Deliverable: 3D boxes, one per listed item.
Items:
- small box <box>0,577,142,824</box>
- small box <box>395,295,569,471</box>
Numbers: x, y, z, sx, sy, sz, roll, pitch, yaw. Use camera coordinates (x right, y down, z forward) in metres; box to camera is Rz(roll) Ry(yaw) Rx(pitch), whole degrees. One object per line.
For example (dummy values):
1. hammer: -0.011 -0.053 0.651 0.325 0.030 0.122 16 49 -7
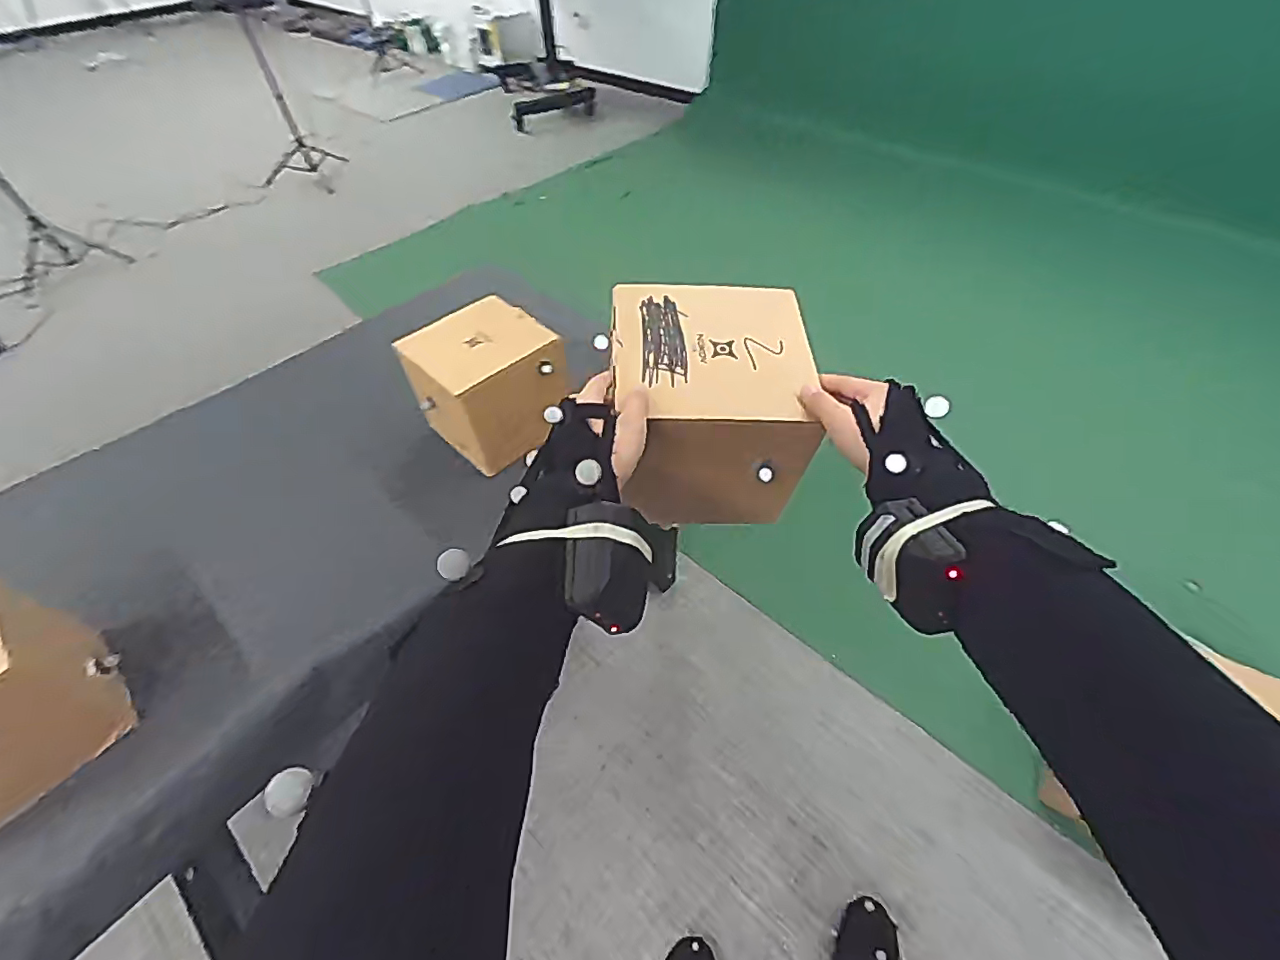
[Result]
1. small box: -0.666 0.226 0.532 0.168 0.176 0.179 34 58 25
2. small box: -0.227 -0.145 0.822 0.168 0.176 0.179 36 60 28
